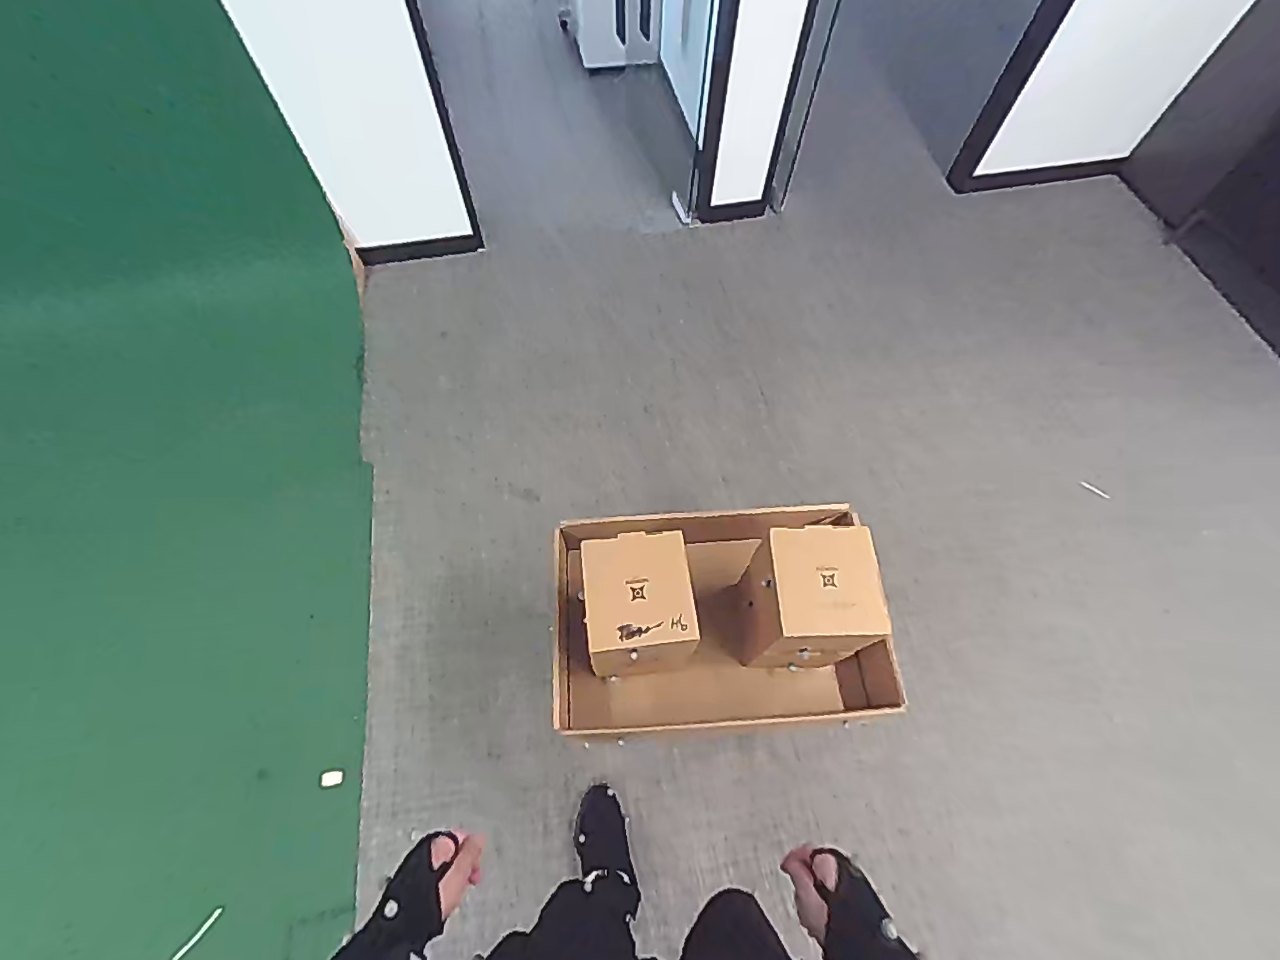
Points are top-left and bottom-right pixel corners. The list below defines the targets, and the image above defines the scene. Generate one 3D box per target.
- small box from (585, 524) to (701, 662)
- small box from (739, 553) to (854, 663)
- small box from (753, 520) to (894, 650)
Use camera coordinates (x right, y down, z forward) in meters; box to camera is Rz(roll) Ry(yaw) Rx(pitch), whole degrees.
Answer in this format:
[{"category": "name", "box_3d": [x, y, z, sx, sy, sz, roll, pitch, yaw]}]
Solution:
[{"category": "small box", "box_3d": [-0.002, 0.189, 0.889, 0.168, 0.176, 0.179, -5, 64, -4]}, {"category": "small box", "box_3d": [0.292, 0.251, 1.049, 0.168, 0.176, 0.179, 0, 64, 0]}, {"category": "small box", "box_3d": [0.291, 0.178, 0.902, 0.168, 0.176, 0.179, 0, 63, -1]}]
